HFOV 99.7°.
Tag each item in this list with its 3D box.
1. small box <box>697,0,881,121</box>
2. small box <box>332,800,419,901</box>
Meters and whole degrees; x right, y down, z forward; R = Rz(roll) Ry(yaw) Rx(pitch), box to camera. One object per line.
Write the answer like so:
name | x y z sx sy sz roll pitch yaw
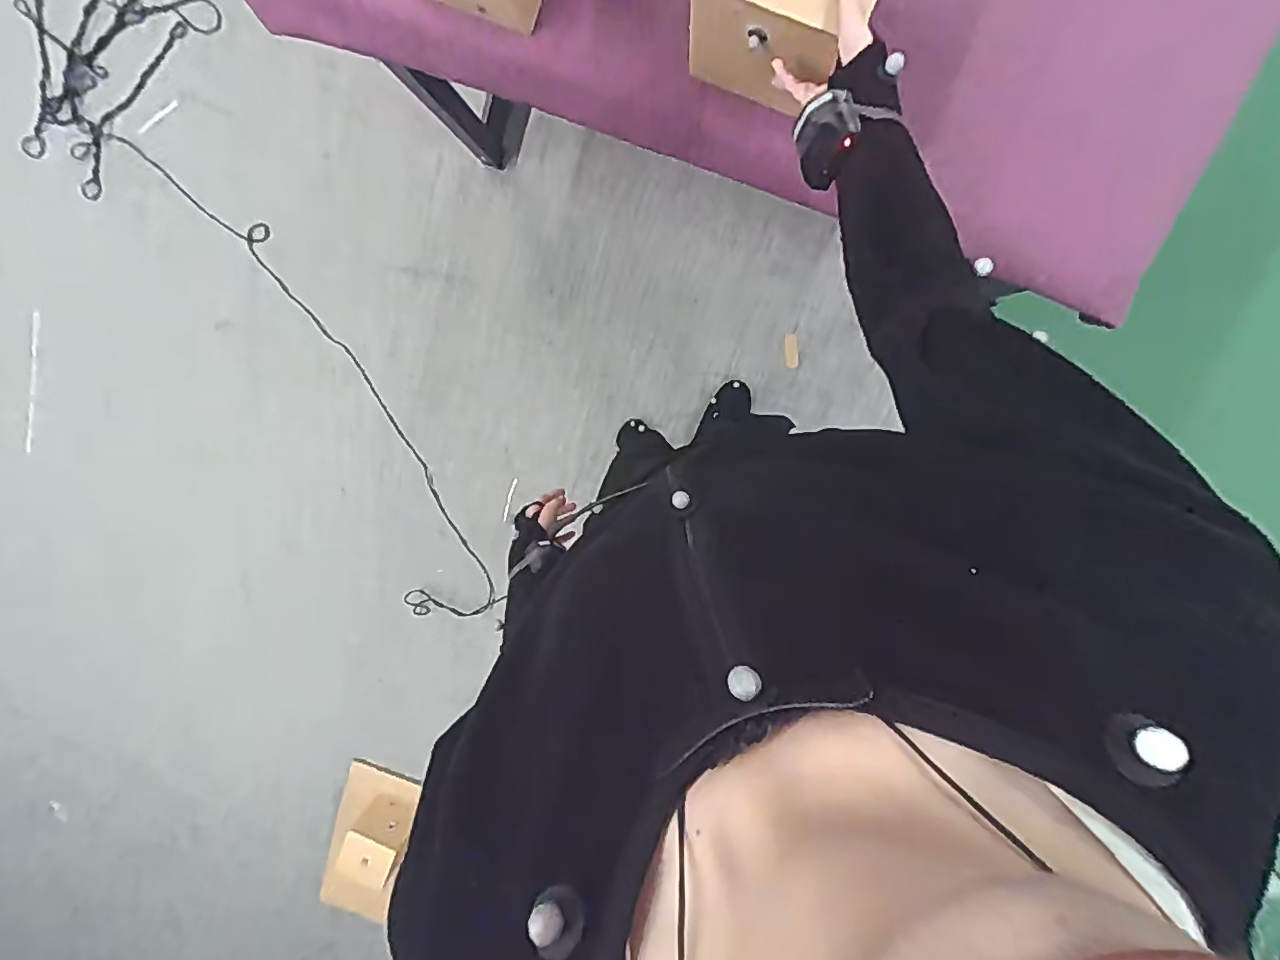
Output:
small box | 0.168 -0.531 0.584 0.179 0.176 0.168 22 101 0
small box | -0.832 1.170 1.720 0.168 0.176 0.179 23 102 2
